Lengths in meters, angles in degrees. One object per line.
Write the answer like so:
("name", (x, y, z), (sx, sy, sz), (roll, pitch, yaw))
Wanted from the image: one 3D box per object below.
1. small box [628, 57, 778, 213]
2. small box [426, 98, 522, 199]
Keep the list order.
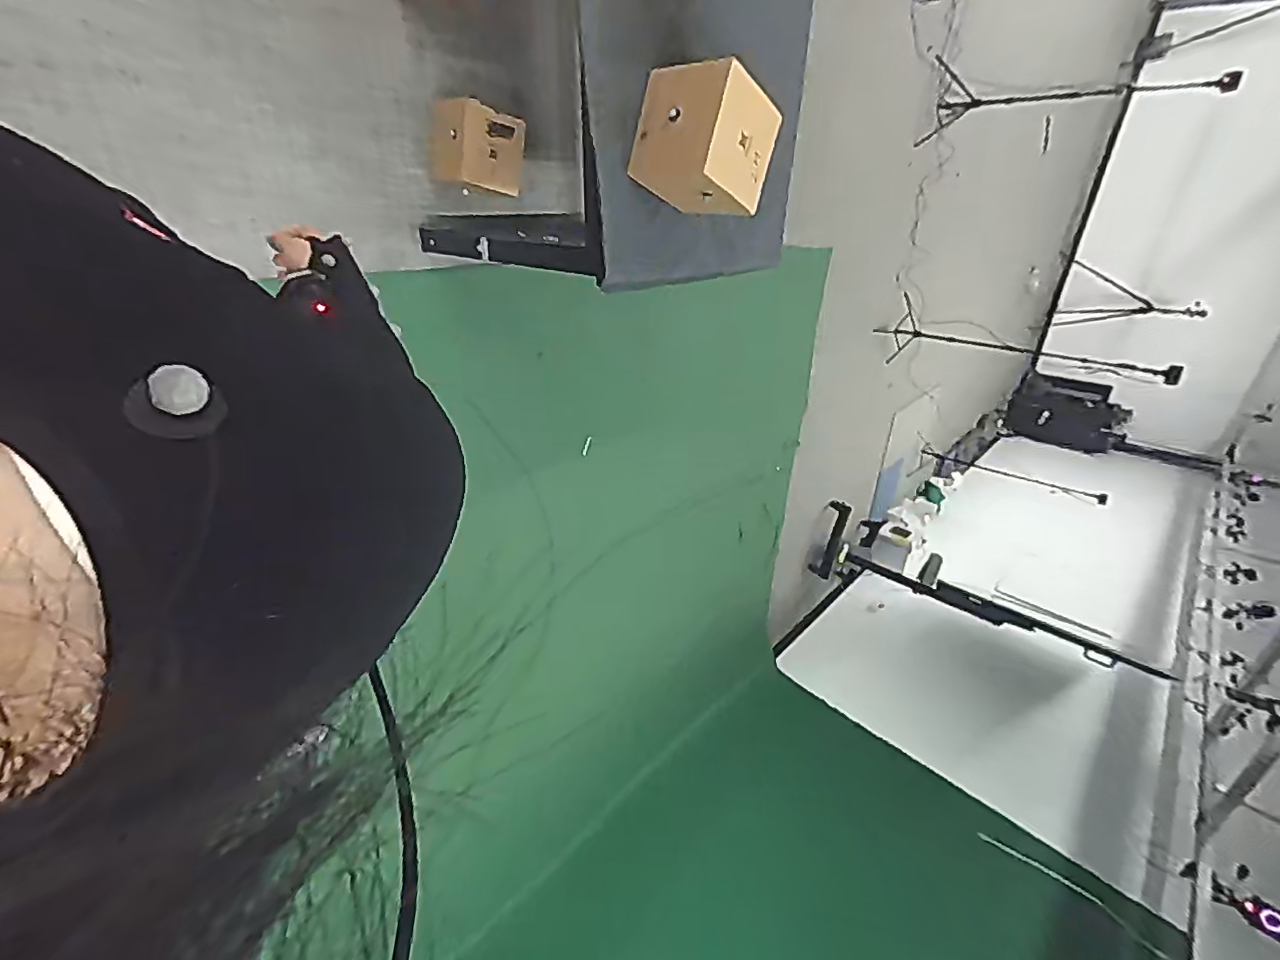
("small box", (0.105, -0.576, 0.928), (0.179, 0.176, 0.168), (0, 109, -52))
("small box", (-0.423, -0.829, 1.367), (0.168, 0.176, 0.179), (-9, 118, -46))
